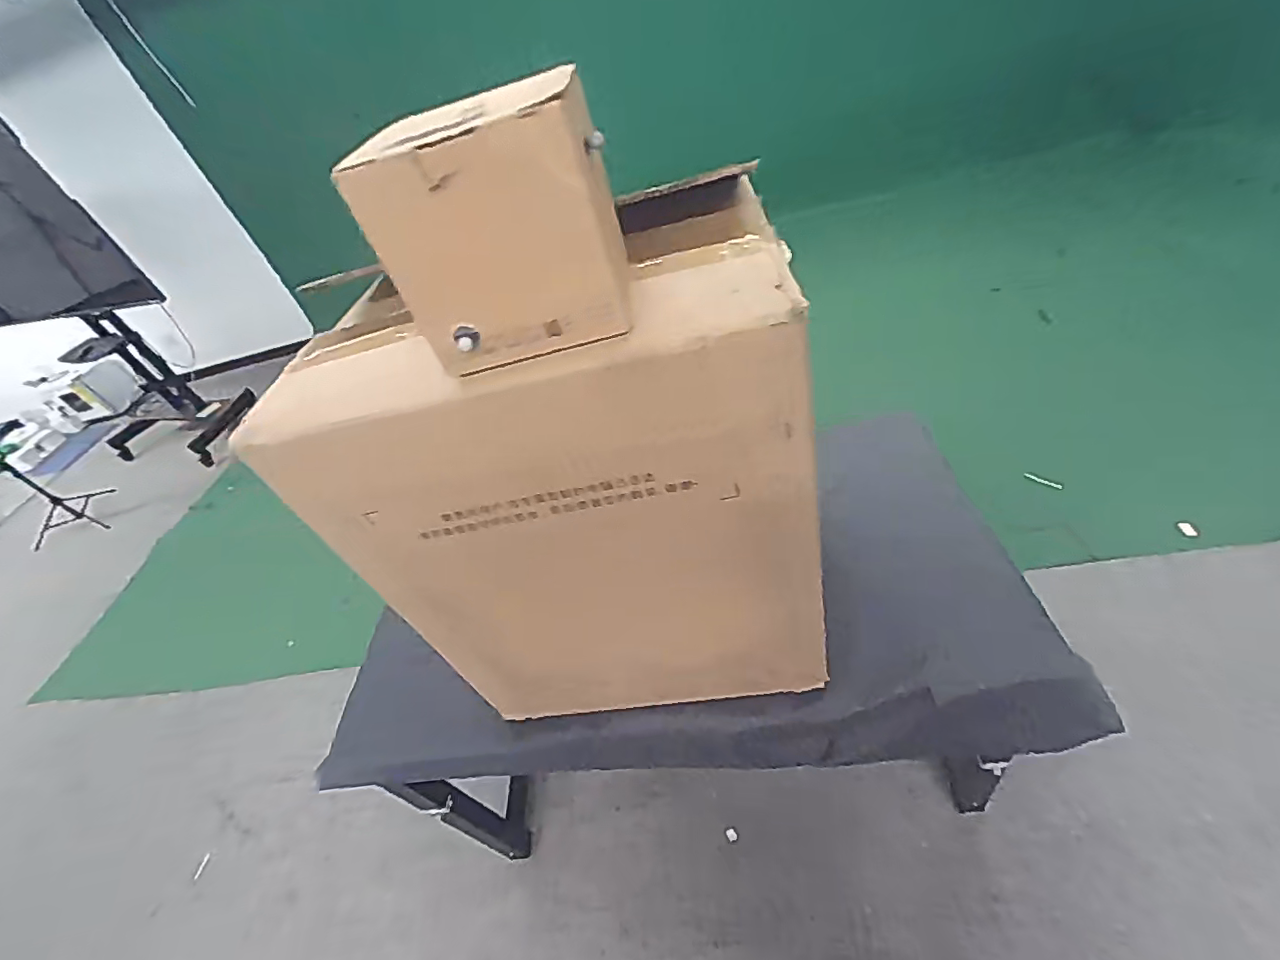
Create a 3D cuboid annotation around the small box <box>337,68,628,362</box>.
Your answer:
[{"bbox_3d":[-0.110,-0.219,0.467,0.168,0.176,0.179,-12,42,9],"label":"small box"}]
